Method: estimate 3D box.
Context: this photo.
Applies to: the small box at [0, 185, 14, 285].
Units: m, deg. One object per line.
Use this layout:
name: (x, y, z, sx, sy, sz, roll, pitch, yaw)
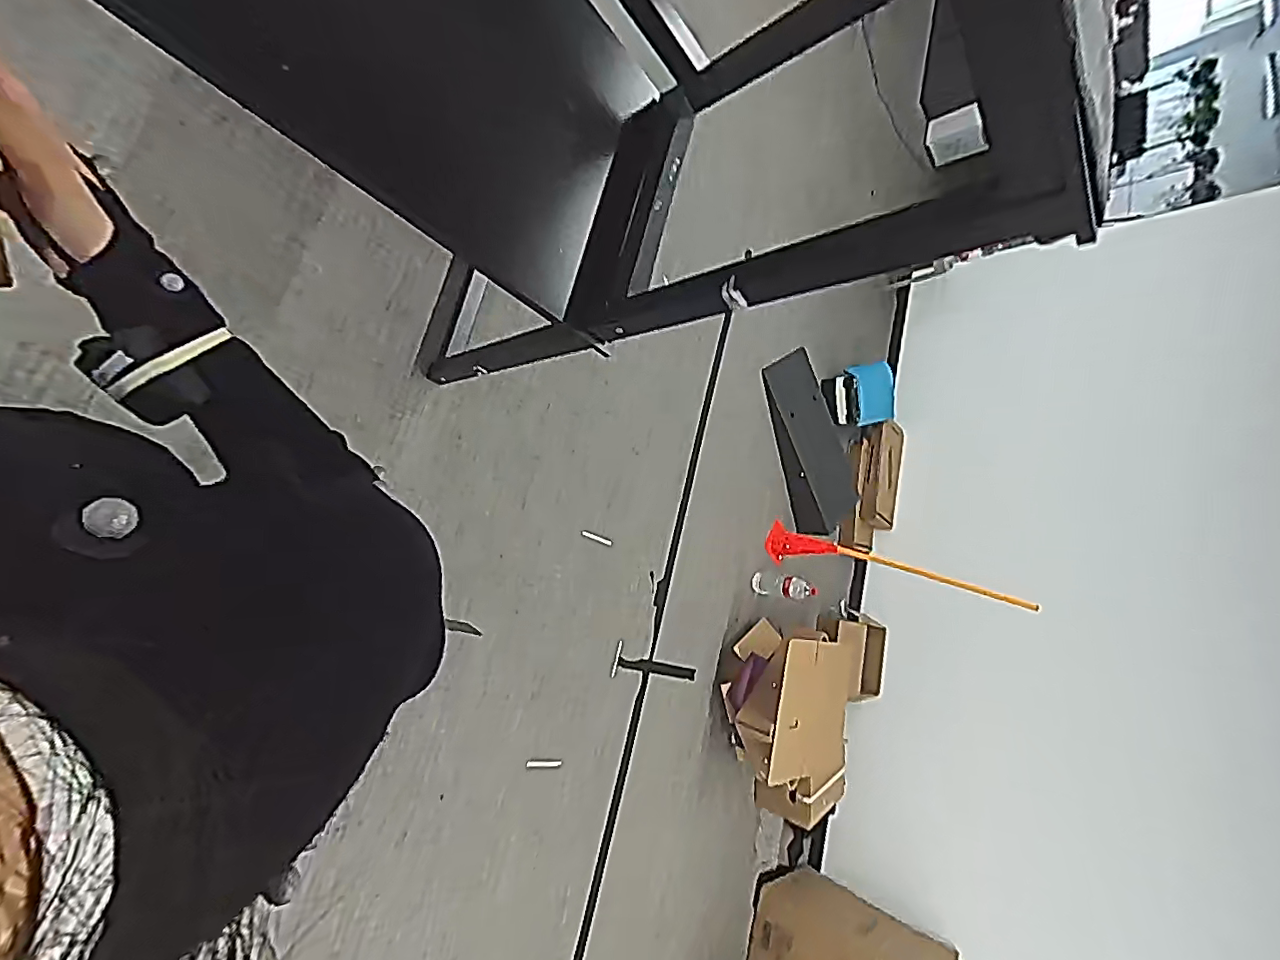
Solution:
small box: (-0.443, -0.203, 0.245, 0.168, 0.176, 0.179, -26, 97, -45)
